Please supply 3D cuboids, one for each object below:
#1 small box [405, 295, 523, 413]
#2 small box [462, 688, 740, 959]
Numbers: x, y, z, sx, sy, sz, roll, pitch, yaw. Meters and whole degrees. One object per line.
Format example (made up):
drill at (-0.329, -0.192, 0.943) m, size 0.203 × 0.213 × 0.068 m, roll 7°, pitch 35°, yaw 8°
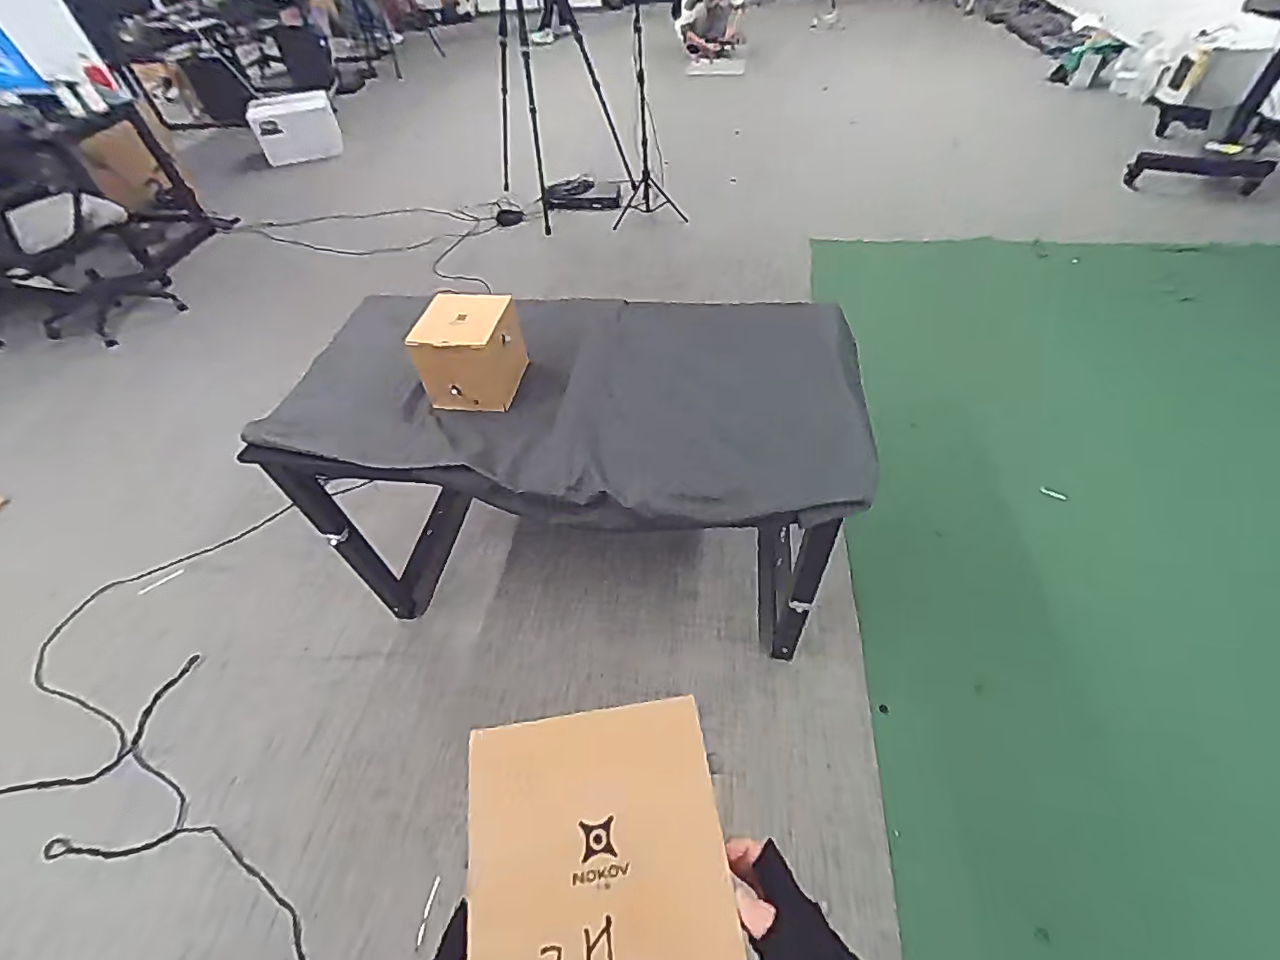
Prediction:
small box at (-0.354, -0.263, 1.130) m, size 0.168 × 0.176 × 0.179 m, roll 4°, pitch 50°, yaw 7°
small box at (-0.034, 0.280, 0.418) m, size 0.168 × 0.176 × 0.179 m, roll -7°, pitch 58°, yaw -6°
